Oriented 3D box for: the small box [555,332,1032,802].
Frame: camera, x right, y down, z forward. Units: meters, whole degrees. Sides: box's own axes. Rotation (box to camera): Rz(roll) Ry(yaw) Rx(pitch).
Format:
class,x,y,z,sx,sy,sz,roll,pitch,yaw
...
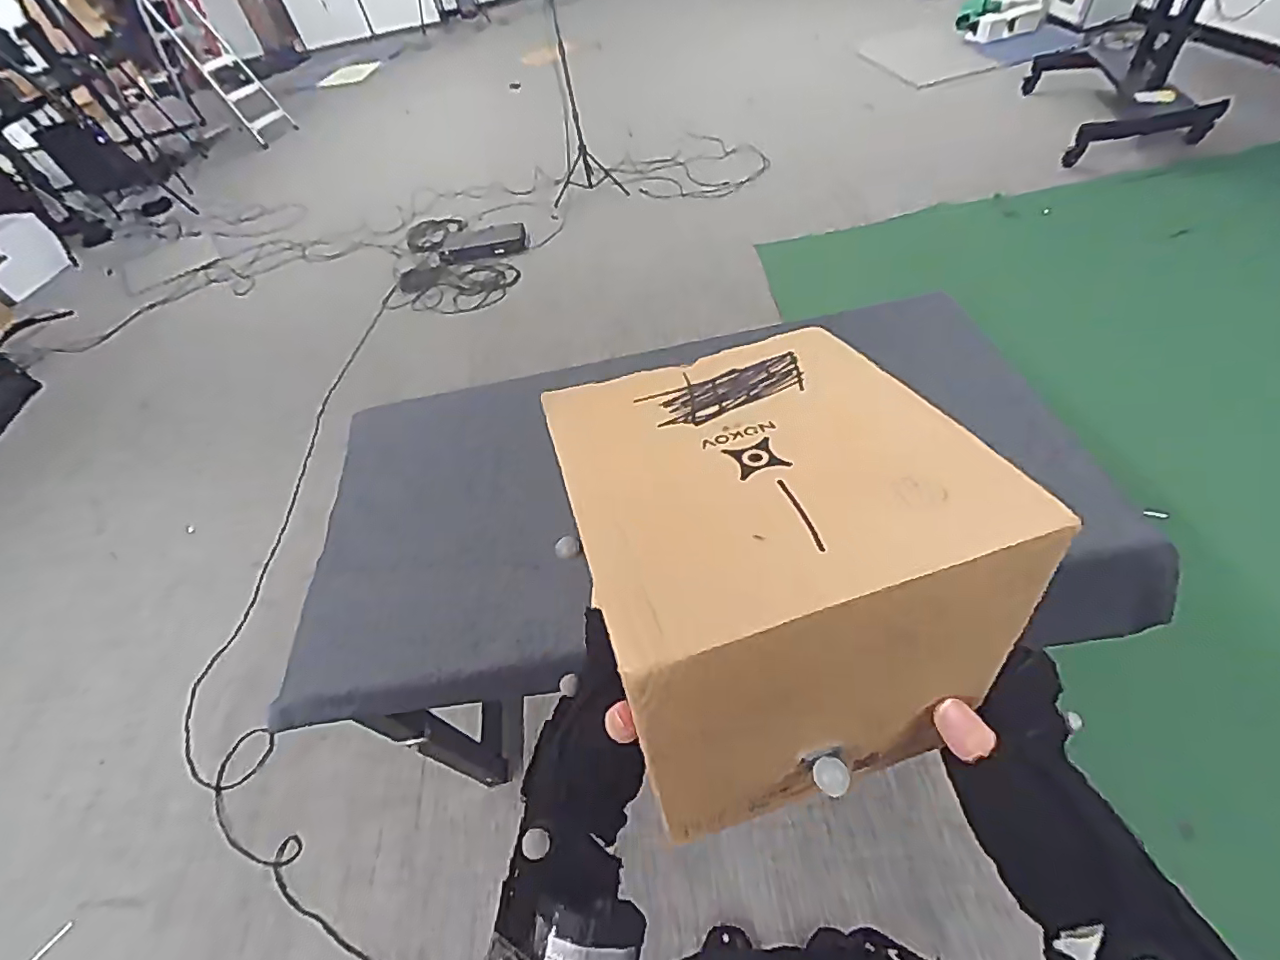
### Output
class,x,y,z,sx,sy,sz,roll,pitch,yaw
small box,0.059,0.043,0.309,0.168,0.176,0.179,-16,42,-7
